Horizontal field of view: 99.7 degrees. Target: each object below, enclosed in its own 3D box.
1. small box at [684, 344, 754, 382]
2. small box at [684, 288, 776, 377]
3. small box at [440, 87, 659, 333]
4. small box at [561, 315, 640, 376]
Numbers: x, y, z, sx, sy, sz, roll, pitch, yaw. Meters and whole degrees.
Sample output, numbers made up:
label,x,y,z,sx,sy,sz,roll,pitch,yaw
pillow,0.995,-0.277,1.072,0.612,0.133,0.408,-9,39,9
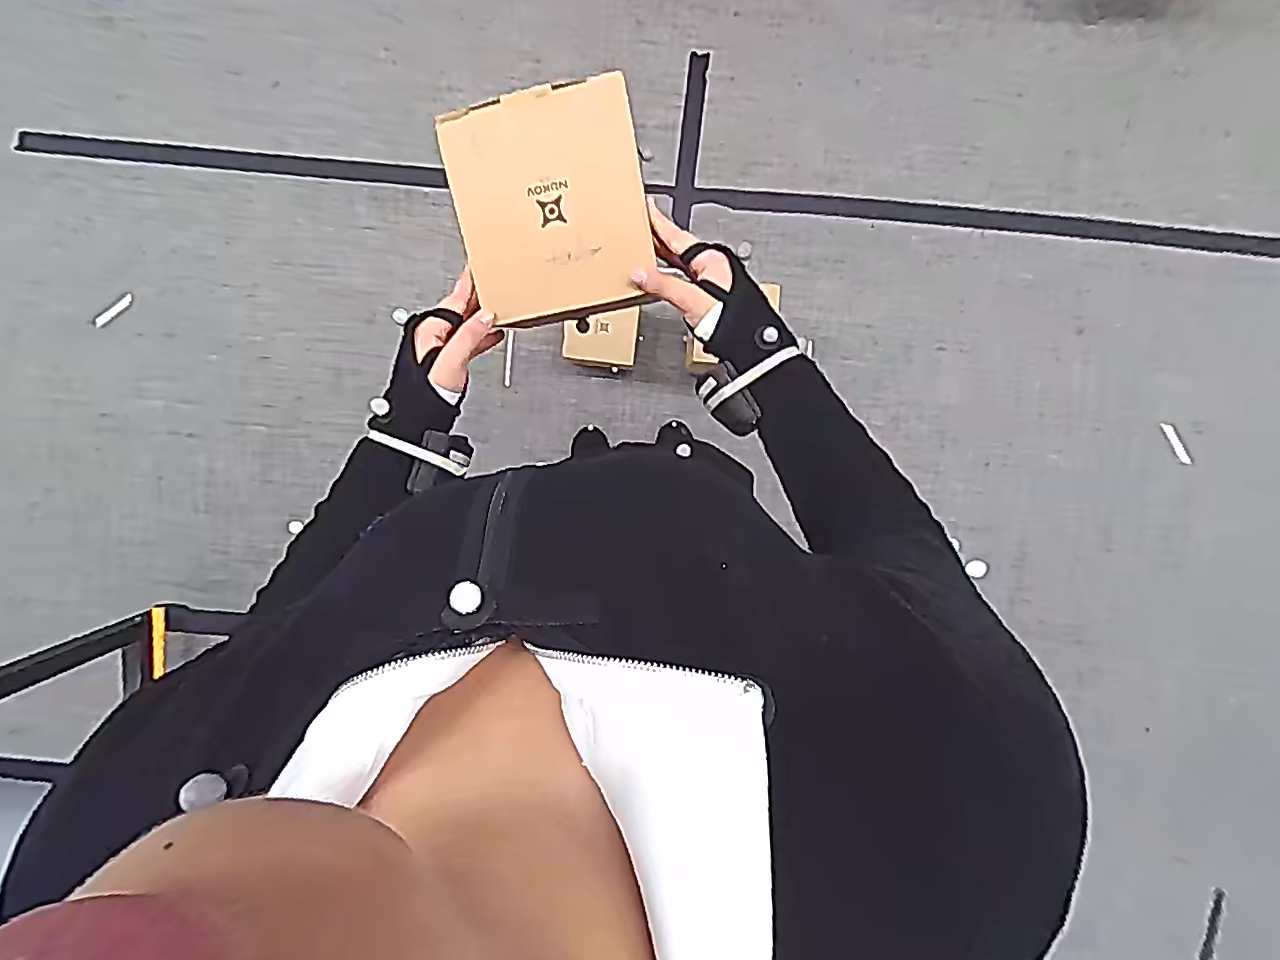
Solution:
label,x,y,z,sx,sy,sz,roll,pitch,yaw
small box,0.203,-0.344,1.379,0.168,0.176,0.179,3,97,0
small box,0.194,-0.323,1.215,0.179,0.176,0.168,3,96,-1
small box,-0.076,-0.253,0.553,0.168,0.176,0.179,-10,104,5
small box,-0.095,-0.362,1.378,0.179,0.176,0.168,7,96,0
